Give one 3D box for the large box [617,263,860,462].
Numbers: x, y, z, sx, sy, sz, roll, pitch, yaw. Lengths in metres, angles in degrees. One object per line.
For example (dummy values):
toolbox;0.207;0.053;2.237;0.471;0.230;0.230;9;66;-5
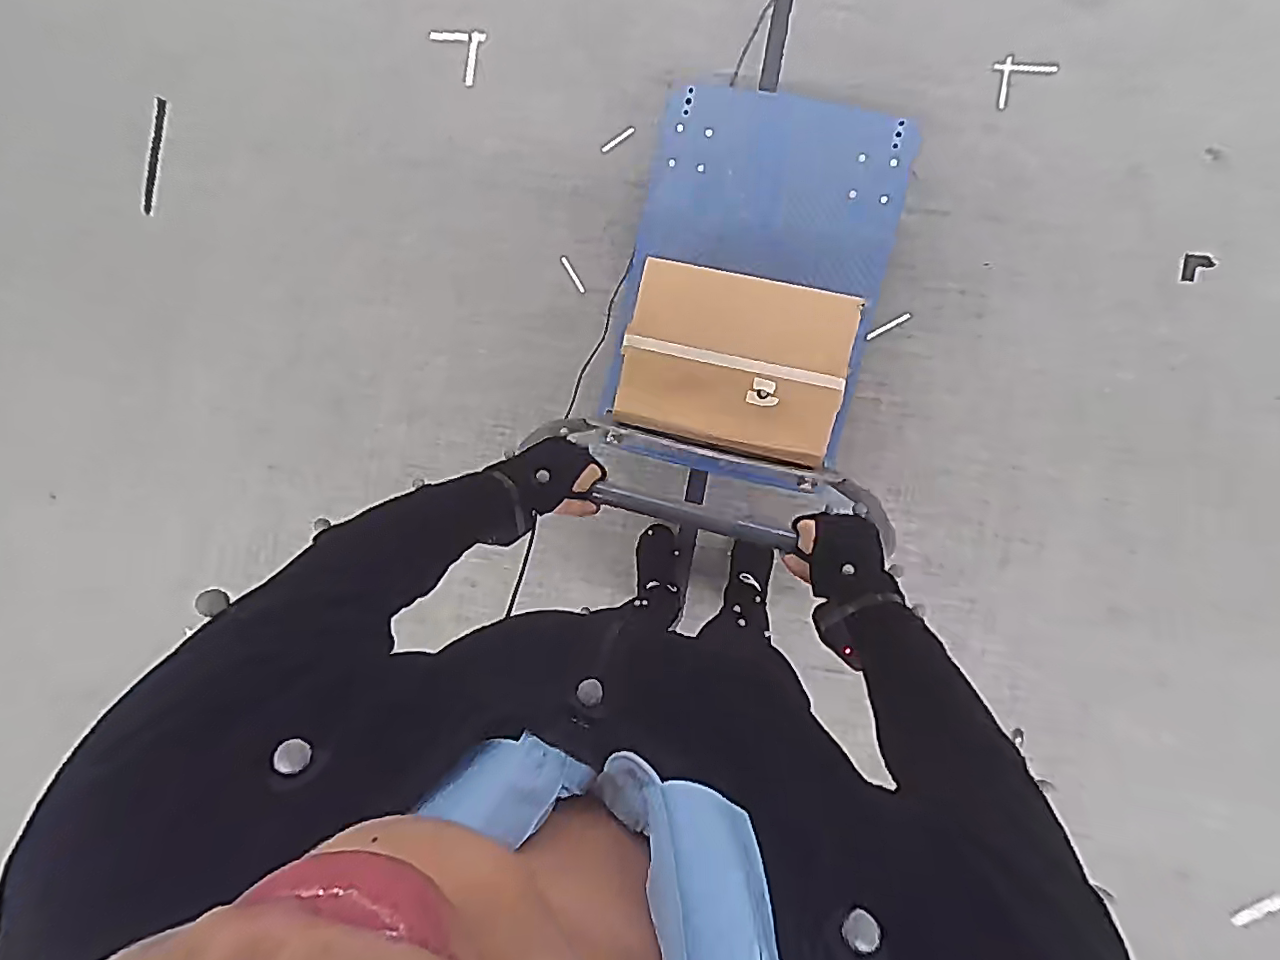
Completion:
large box;0.193;-0.232;1.162;0.408;0.320;0.320;13;96;6
